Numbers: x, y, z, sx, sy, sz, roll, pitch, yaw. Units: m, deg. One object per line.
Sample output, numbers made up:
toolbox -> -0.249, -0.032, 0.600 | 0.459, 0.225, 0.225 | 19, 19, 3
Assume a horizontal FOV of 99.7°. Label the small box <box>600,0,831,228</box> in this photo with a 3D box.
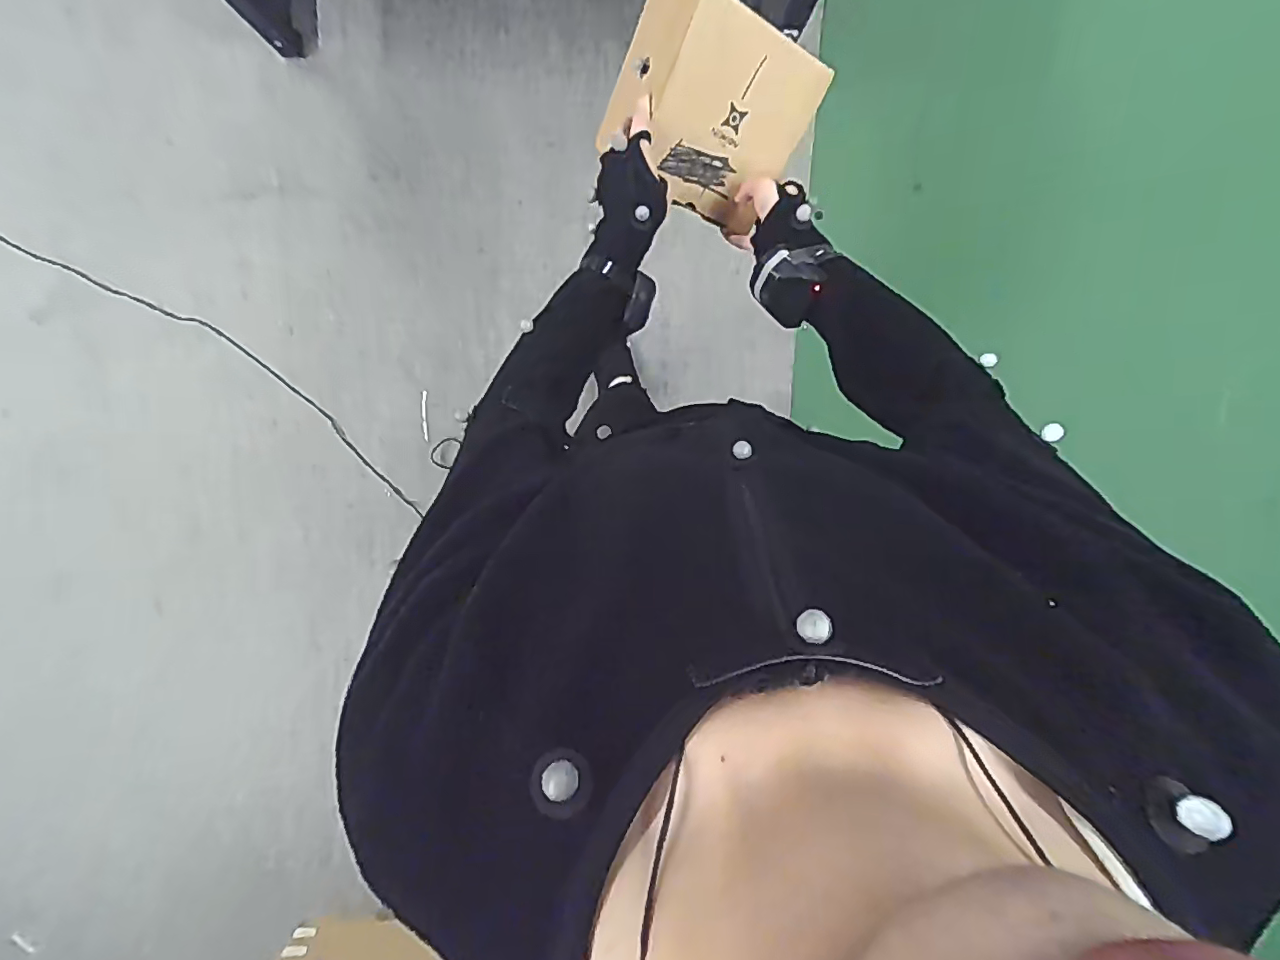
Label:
small box -> 0.066, -0.422, 0.603 | 0.168, 0.176, 0.179 | 11, 126, -28
